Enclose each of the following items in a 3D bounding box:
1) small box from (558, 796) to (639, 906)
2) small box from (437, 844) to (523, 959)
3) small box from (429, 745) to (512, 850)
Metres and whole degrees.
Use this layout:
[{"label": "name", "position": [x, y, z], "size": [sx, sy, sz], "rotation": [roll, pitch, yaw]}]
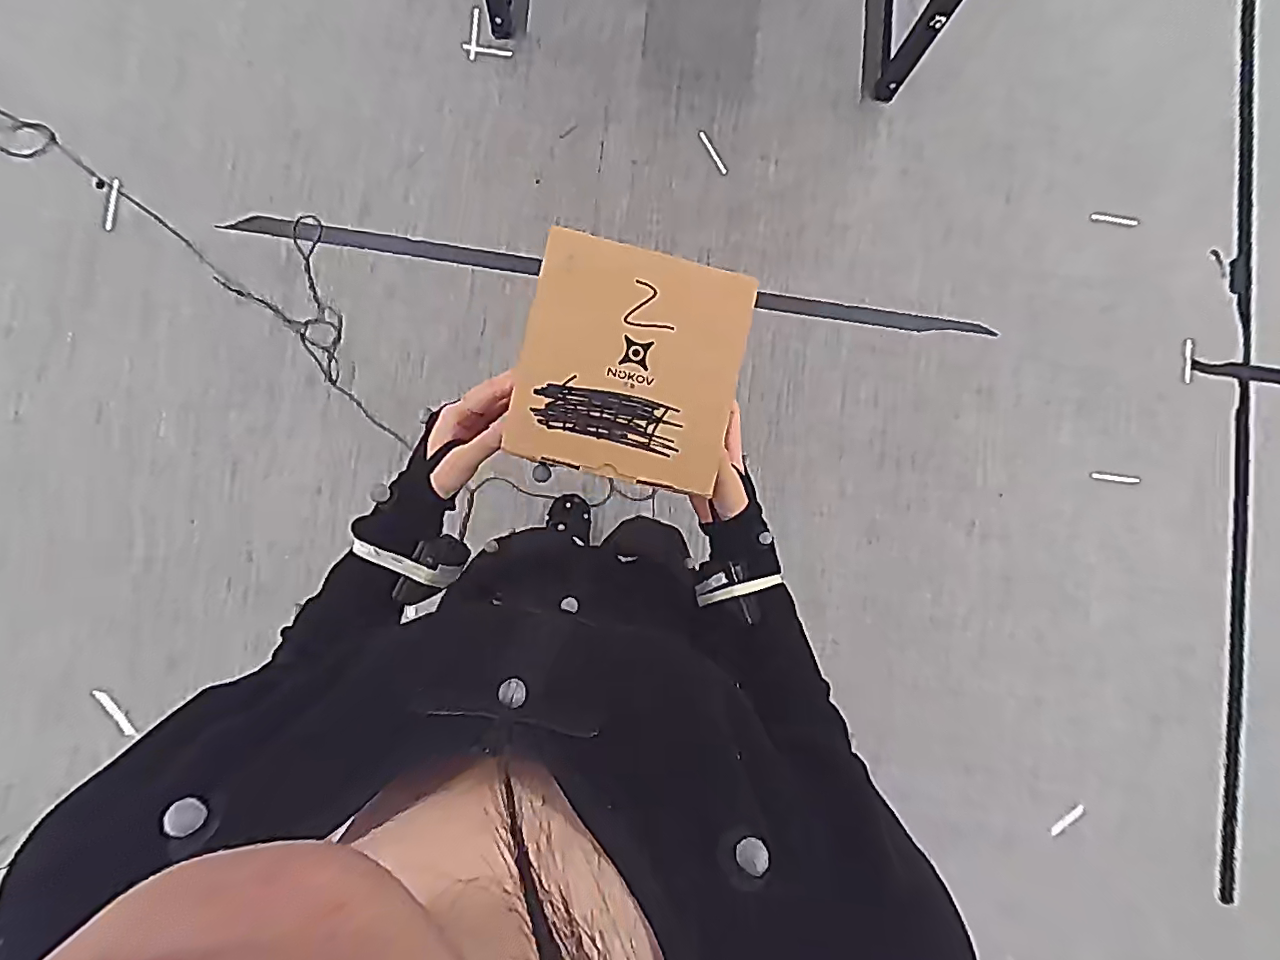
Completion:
[{"label": "small box", "position": [-0.105, 0.924, 1.360], "size": [0.179, 0.176, 0.168], "rotation": [8, 86, -6]}, {"label": "small box", "position": [-0.388, 1.034, 1.331], "size": [0.179, 0.176, 0.168], "rotation": [-1, 88, -6]}, {"label": "small box", "position": [-0.414, 0.774, 1.339], "size": [0.168, 0.176, 0.179], "rotation": [0, 87, -5]}]
